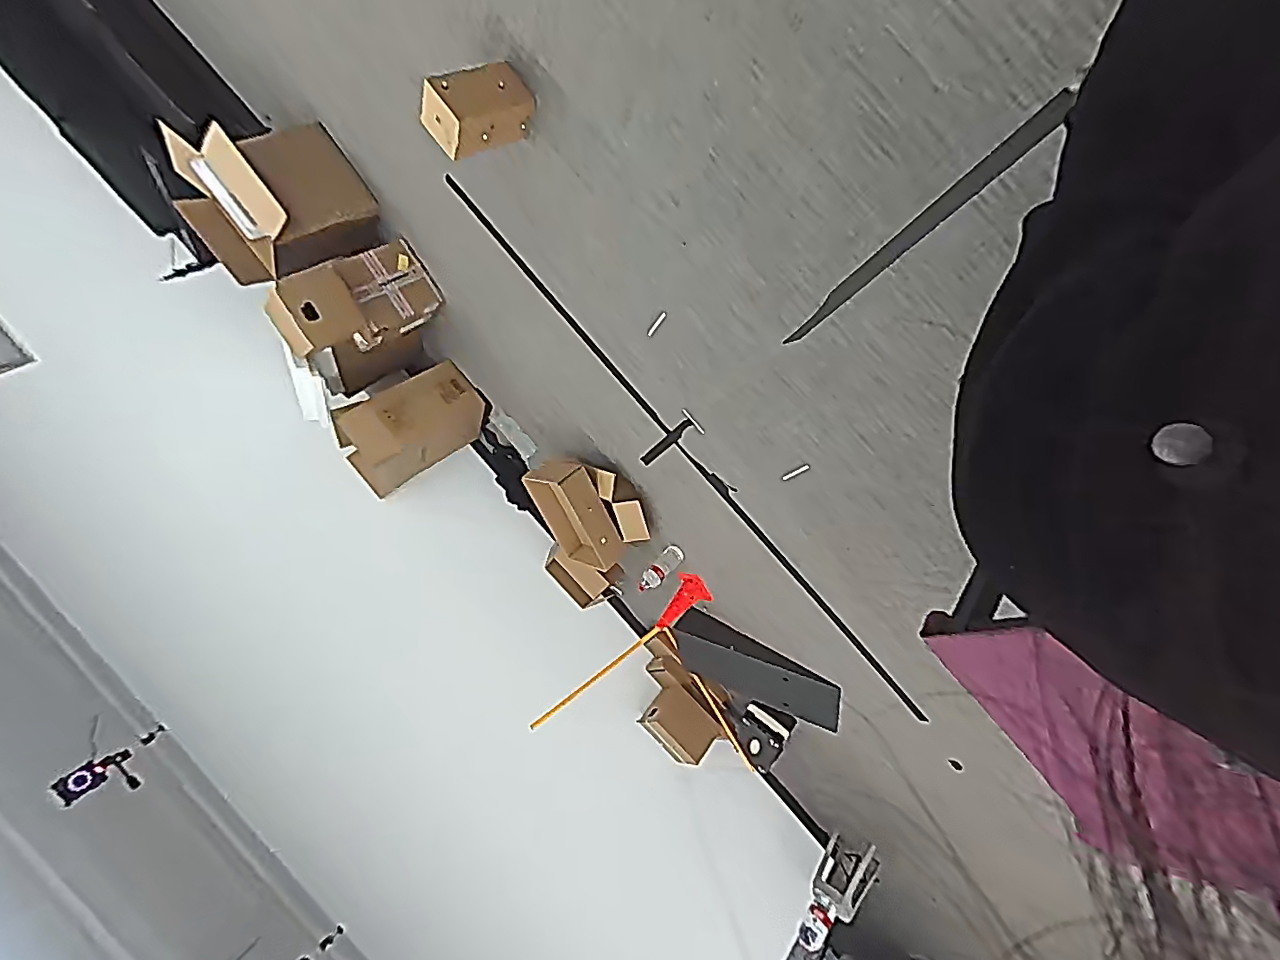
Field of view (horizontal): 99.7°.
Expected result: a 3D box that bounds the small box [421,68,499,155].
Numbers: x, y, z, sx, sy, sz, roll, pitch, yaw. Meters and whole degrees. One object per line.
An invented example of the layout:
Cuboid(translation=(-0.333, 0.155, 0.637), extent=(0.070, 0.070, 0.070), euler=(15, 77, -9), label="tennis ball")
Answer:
Cuboid(translation=(-0.608, -1.246, 1.823), extent=(0.179, 0.176, 0.168), euler=(50, 151, -4), label="small box")
